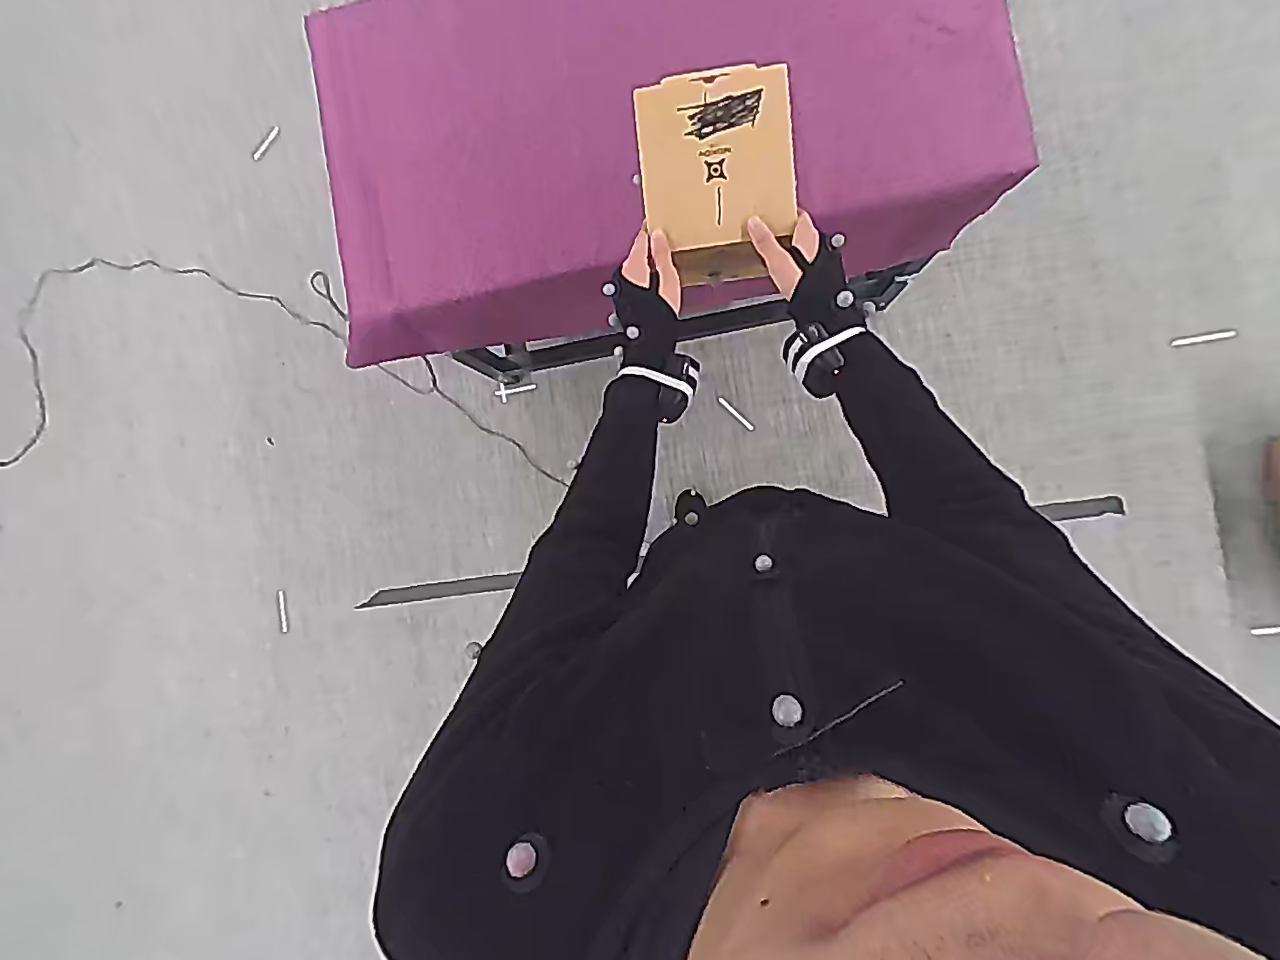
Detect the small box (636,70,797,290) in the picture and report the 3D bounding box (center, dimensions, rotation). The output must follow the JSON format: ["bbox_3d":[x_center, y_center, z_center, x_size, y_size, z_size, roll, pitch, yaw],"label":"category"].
[{"bbox_3d":[0.091,-0.353,0.671,0.168,0.176,0.179,-6,96,7],"label":"small box"}]
